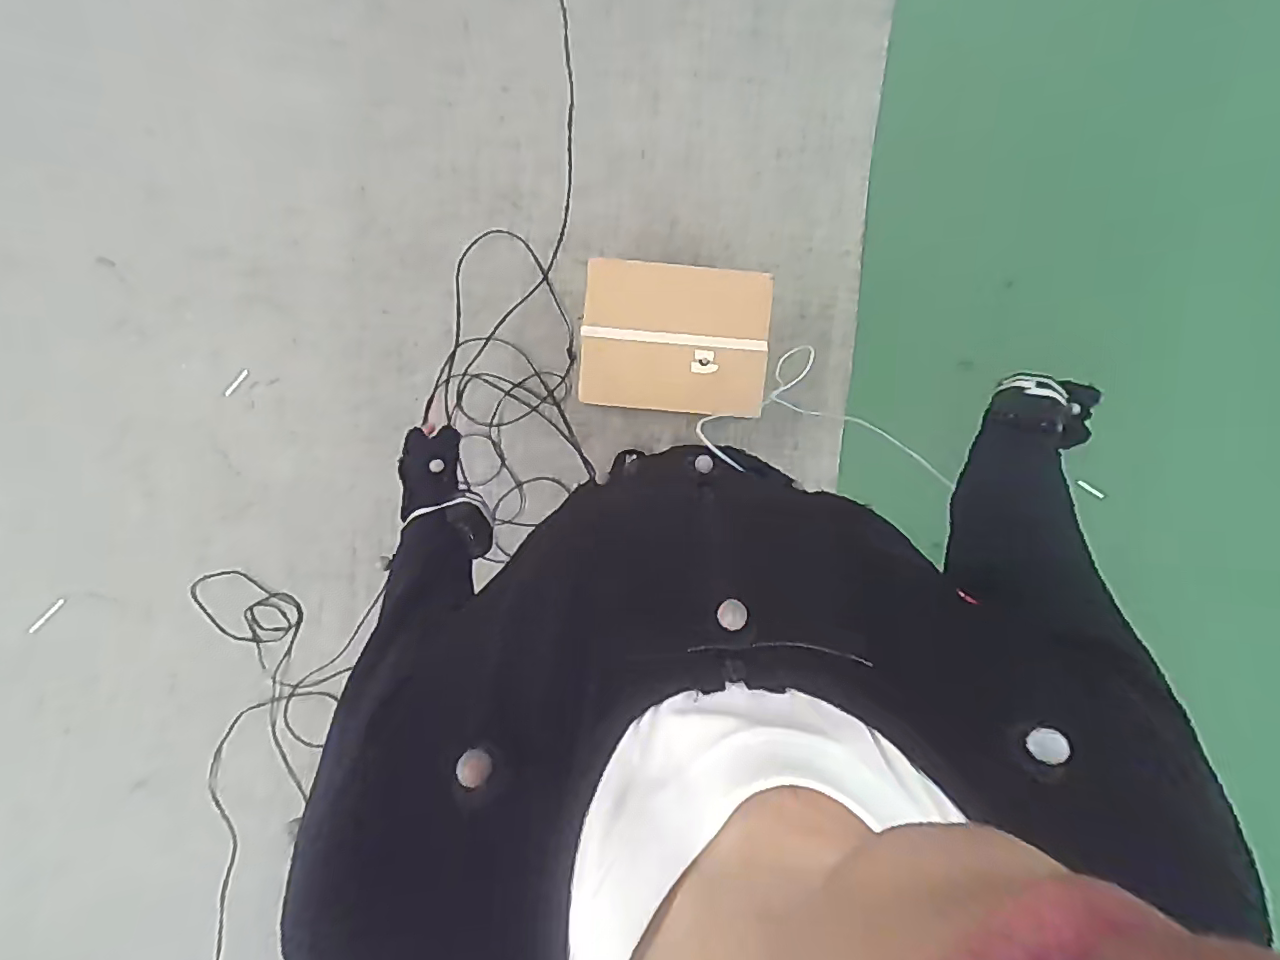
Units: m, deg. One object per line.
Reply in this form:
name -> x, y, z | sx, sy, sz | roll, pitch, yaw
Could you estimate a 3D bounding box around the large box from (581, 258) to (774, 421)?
large box -> 0.076, -0.318, 1.313 | 0.408, 0.320, 0.320 | 5, 95, -1
